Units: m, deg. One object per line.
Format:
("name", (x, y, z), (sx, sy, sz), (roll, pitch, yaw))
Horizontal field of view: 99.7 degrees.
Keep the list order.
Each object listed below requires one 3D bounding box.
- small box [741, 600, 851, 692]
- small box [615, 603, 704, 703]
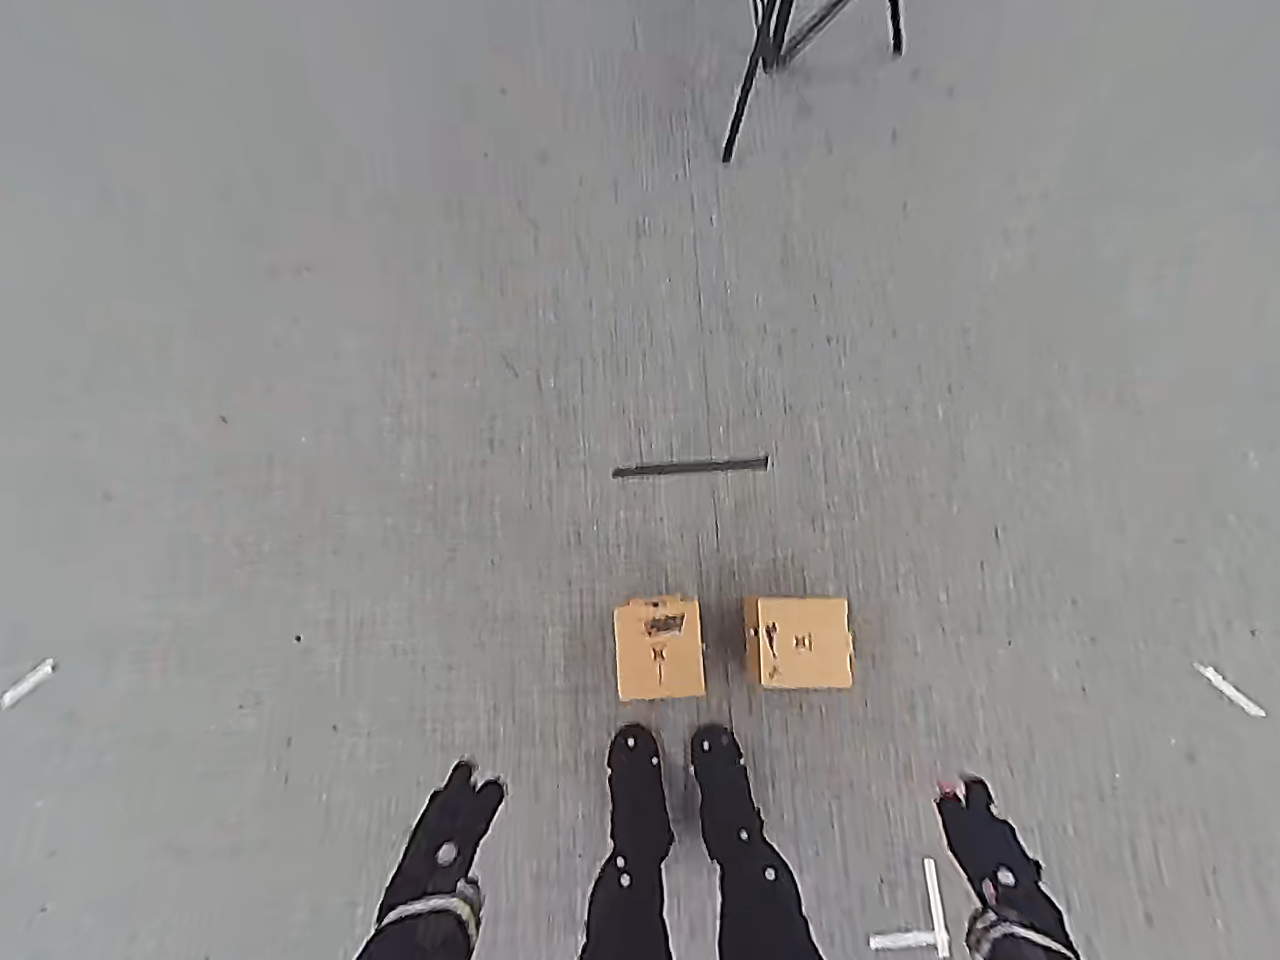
("small box", (0.312, 0.333, 1.109), (0.179, 0.176, 0.168), (0, 79, 0))
("small box", (0.036, 0.345, 1.108), (0.168, 0.176, 0.179), (-3, 80, 0))
